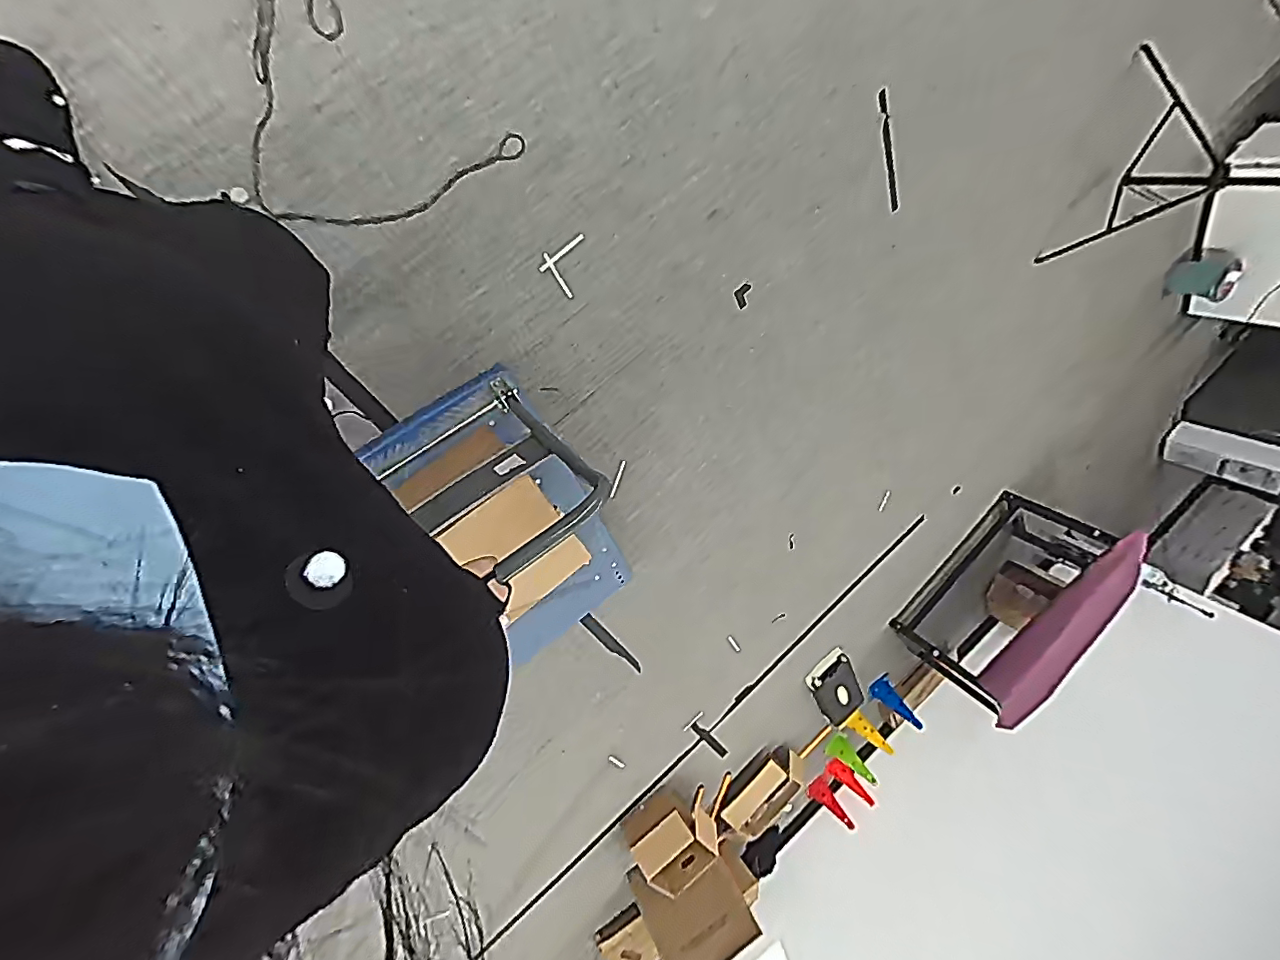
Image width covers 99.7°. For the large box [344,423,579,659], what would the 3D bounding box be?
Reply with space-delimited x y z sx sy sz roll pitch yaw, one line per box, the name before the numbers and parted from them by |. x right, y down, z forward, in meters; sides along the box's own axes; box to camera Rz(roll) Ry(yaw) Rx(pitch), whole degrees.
large box | -0.430 0.134 1.309 0.408 0.320 0.320 -39 129 -9
